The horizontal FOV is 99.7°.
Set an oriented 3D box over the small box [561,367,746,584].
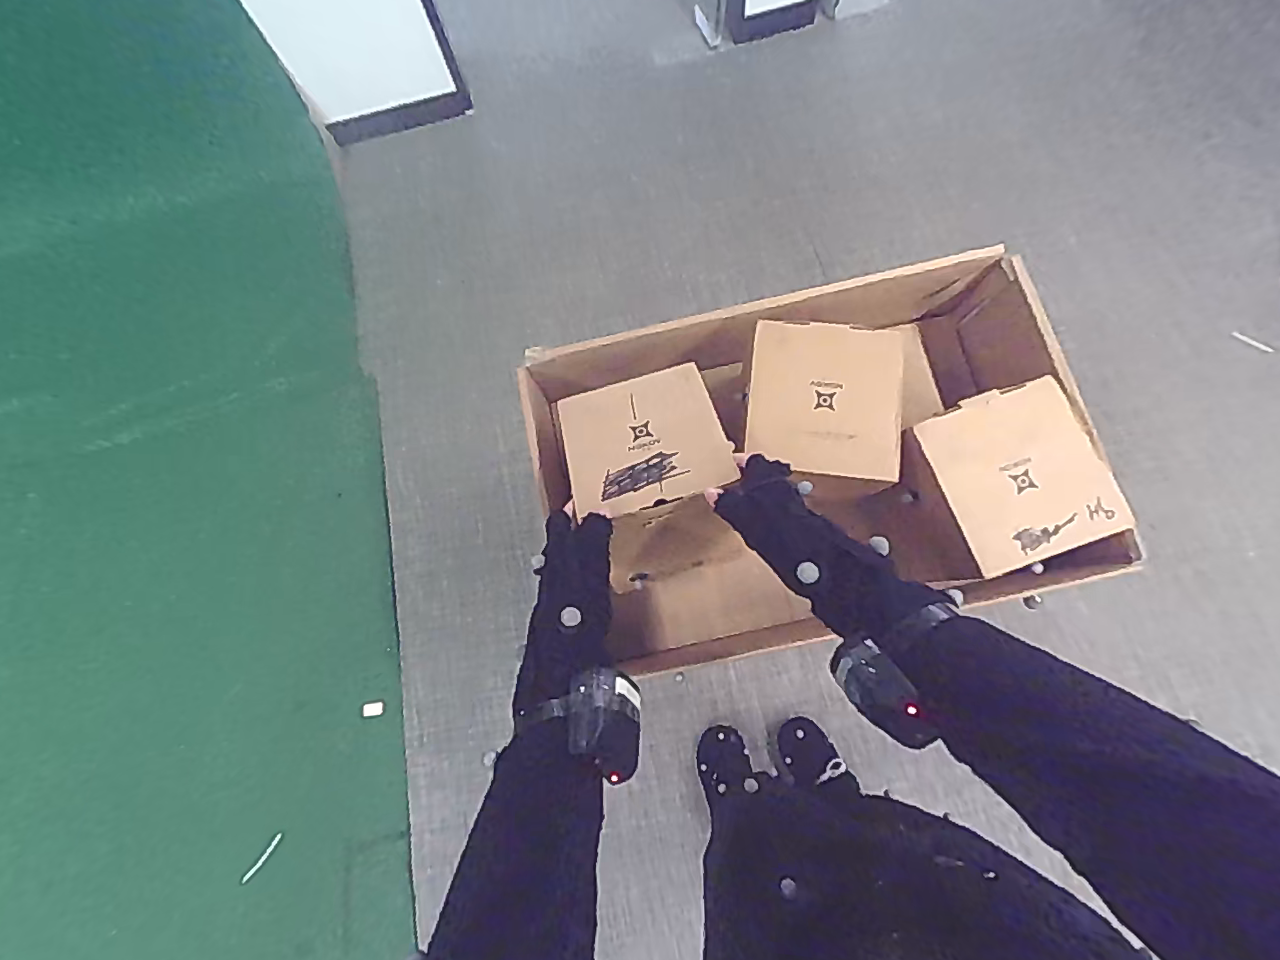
[{"bbox_3d":[0.020,0.005,0.631,0.168,0.176,0.179,-16,52,2],"label":"small box"}]
